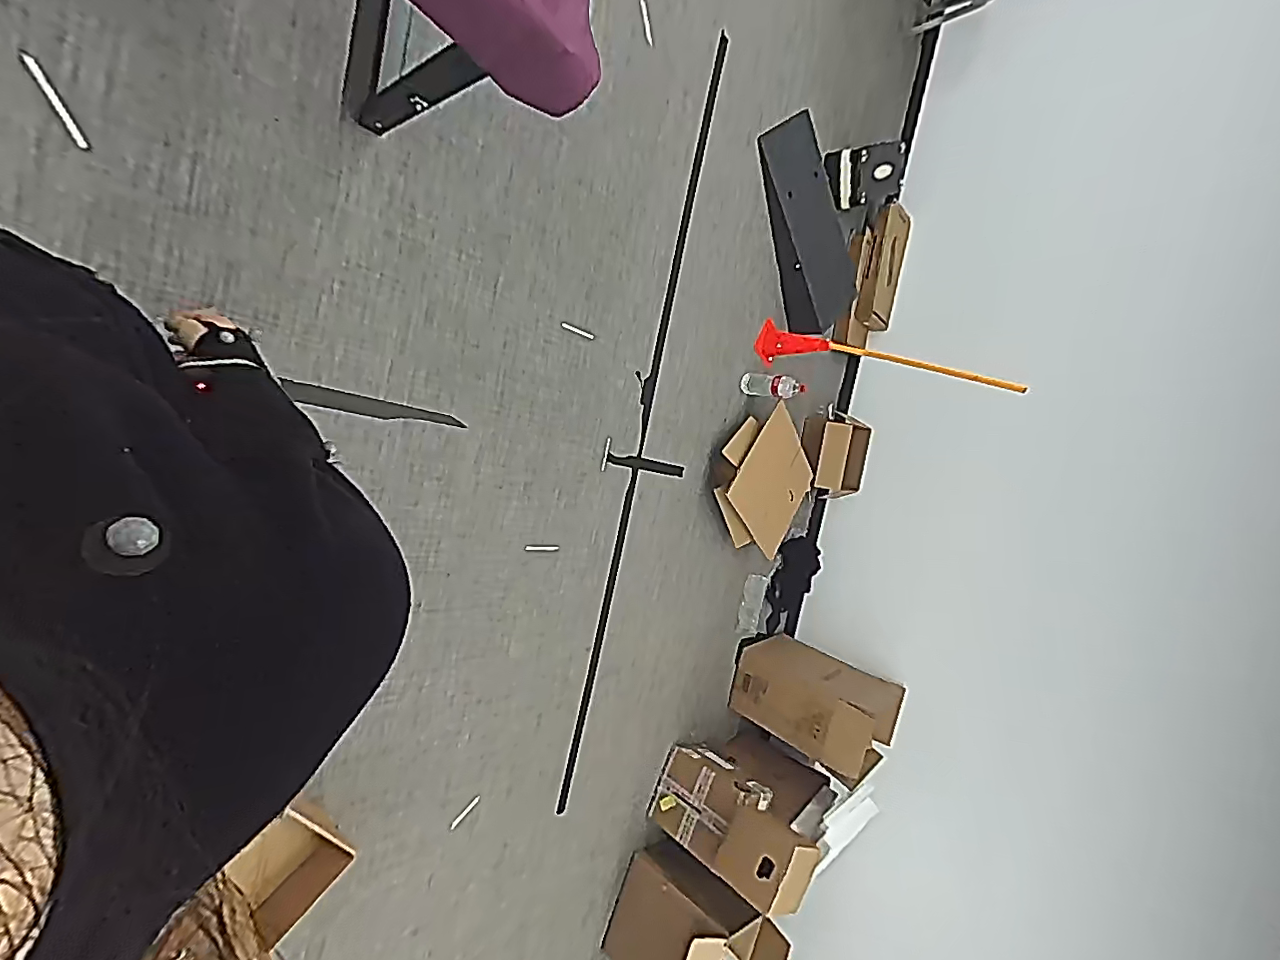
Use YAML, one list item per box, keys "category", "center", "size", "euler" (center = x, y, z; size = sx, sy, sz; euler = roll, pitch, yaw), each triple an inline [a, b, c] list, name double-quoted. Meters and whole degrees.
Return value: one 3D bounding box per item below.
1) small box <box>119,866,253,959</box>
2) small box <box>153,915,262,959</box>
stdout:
- category: "small box"
  center: [-1.065, 1.061, 1.271]
  size: [0.168, 0.176, 0.179]
  euler: [-42, 131, -33]
- category: "small box"
  center: [-0.945, 1.097, 1.168]
  size: [0.168, 0.176, 0.179]
  euler: [-44, 131, -32]
